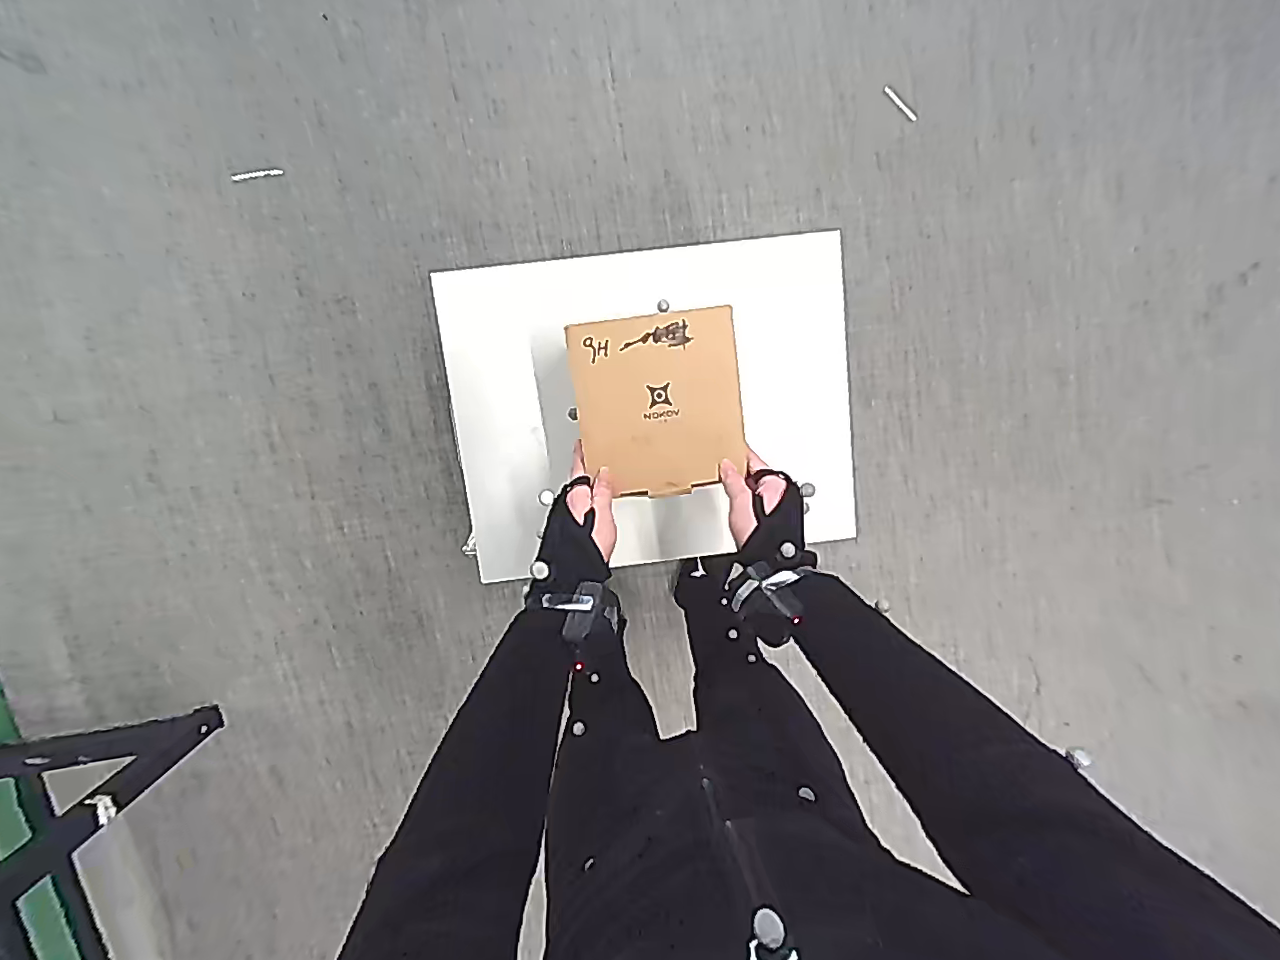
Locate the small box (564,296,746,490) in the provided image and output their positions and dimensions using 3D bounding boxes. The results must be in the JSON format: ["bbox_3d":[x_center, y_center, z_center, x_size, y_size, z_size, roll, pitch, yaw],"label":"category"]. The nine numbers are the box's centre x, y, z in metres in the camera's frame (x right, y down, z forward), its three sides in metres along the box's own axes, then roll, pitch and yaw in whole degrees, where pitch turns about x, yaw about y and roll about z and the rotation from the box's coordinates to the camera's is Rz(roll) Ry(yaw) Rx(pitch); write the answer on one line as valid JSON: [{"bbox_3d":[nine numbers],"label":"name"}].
[{"bbox_3d":[0.015,-0.097,0.622,0.168,0.176,0.179,-9,98,-1],"label":"small box"}]
